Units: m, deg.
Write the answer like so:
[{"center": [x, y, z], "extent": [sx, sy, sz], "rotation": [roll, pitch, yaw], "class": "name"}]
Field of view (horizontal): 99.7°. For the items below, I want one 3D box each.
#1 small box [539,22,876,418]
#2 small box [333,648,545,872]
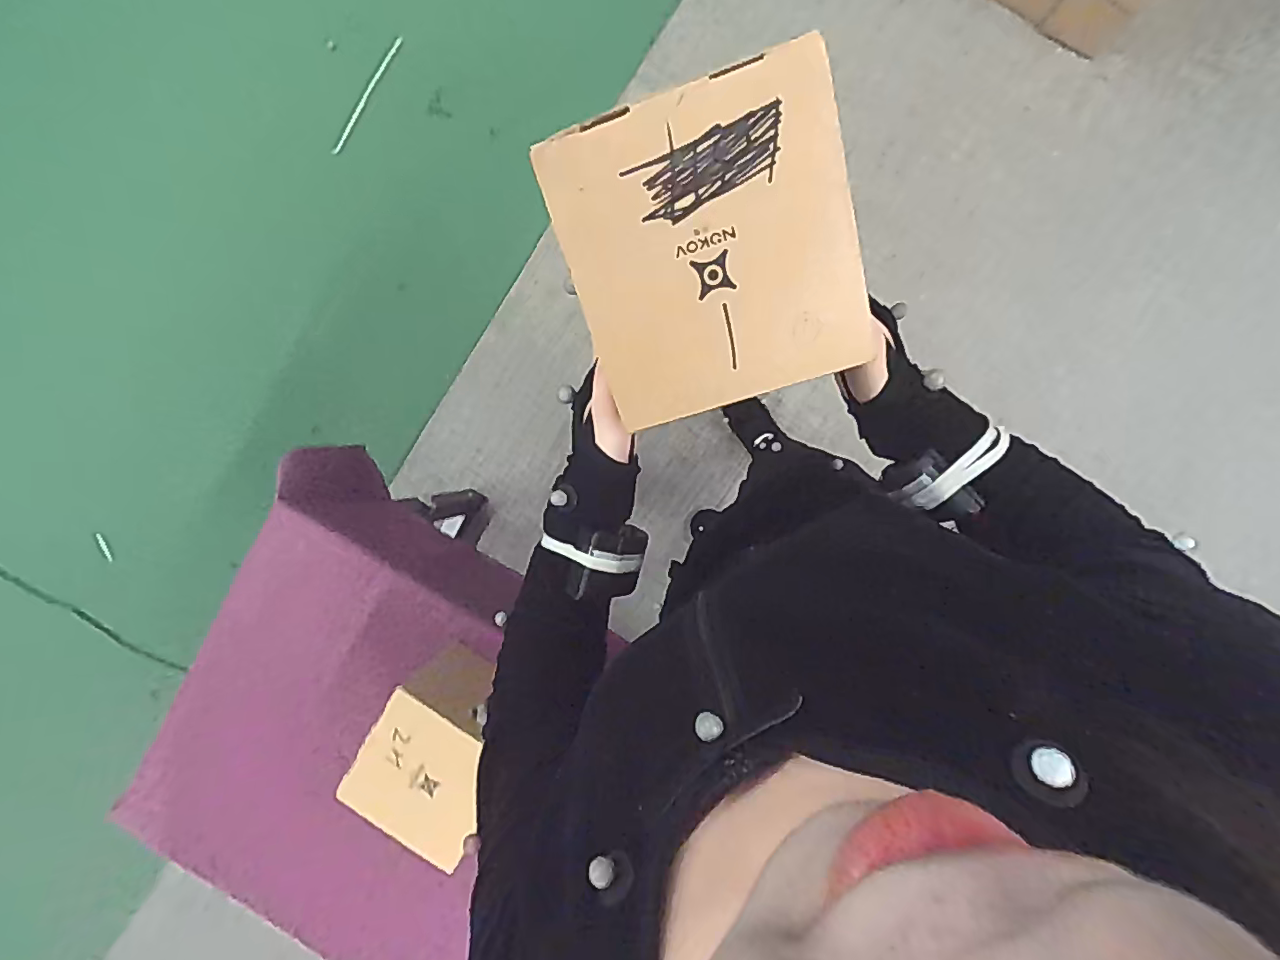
[{"center": [0.047, -0.166, 0.388], "extent": [0.168, 0.176, 0.179], "rotation": [-15, 111, 9], "class": "small box"}, {"center": [-0.253, 0.355, 0.725], "extent": [0.179, 0.176, 0.168], "rotation": [32, 94, 4], "class": "small box"}]
